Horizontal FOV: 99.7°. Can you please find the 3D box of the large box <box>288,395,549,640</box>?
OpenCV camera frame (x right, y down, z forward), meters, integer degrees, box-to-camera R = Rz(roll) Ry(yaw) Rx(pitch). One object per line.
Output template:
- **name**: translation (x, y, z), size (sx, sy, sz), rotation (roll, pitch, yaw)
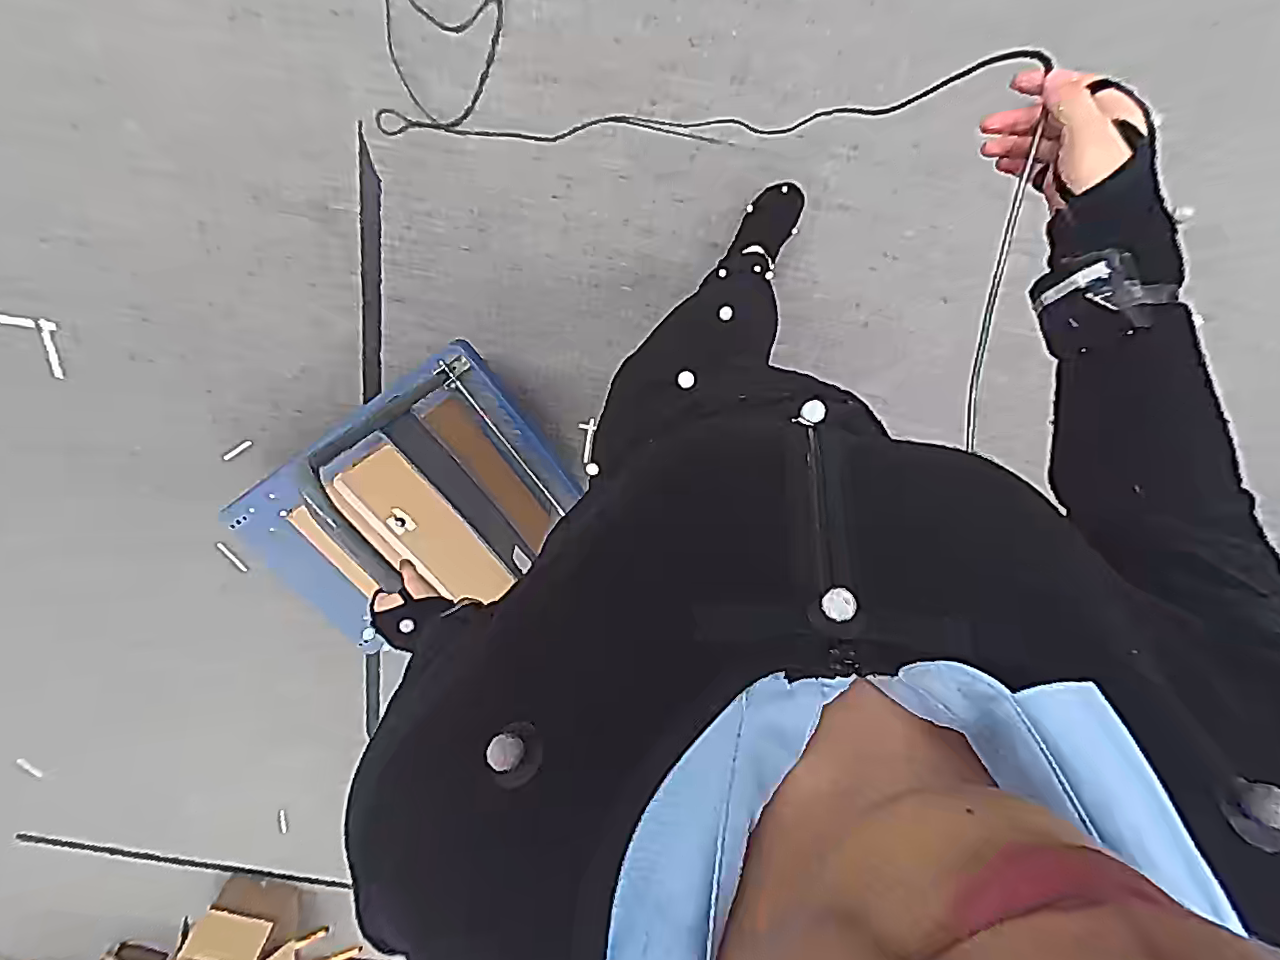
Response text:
- **large box**: translation (-0.474, 0.080, 1.253), size (0.320, 0.320, 0.408), rotation (-30, 110, 14)
